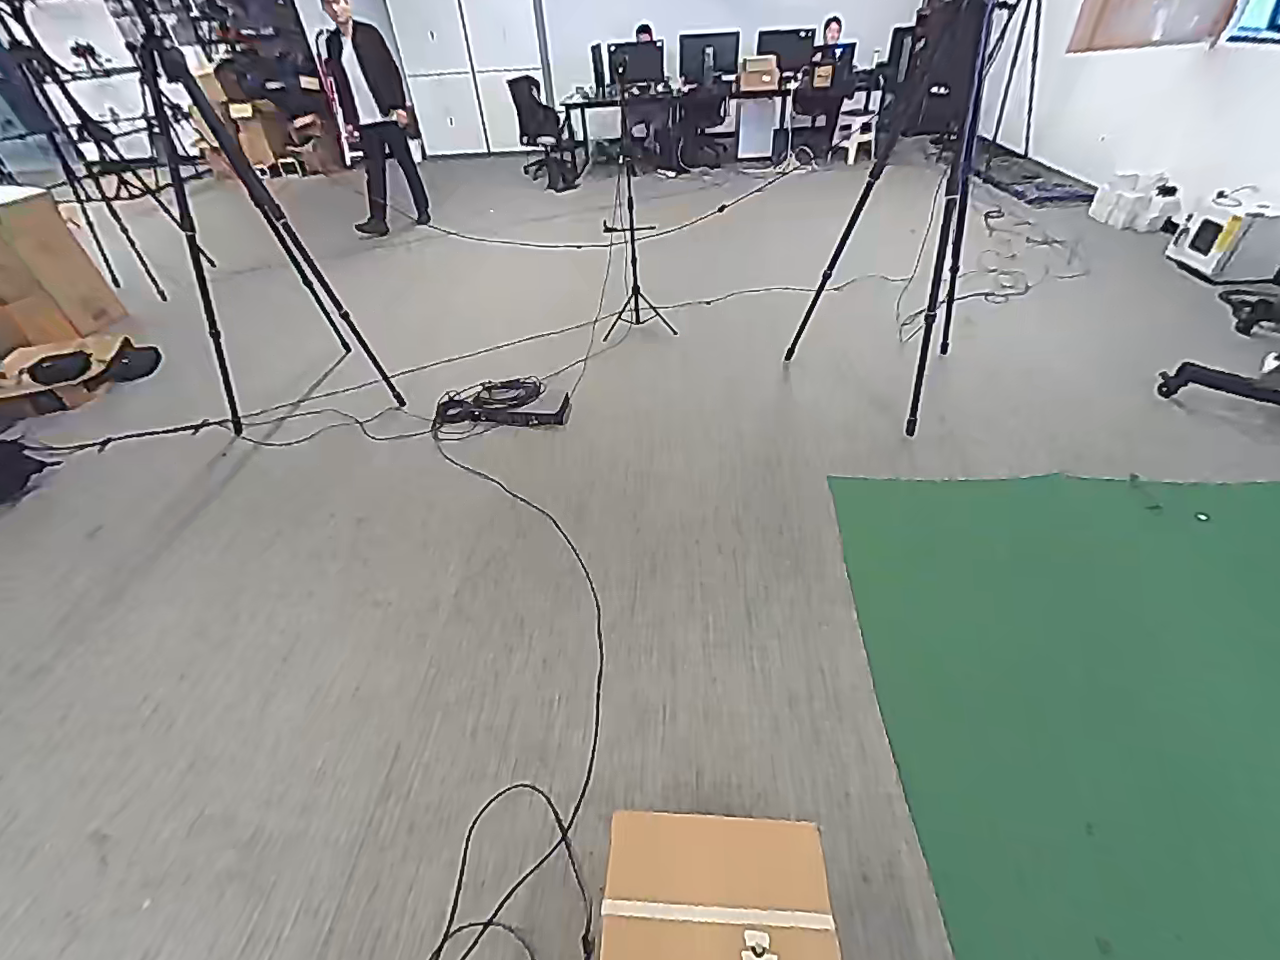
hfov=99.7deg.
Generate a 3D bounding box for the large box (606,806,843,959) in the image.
[{"bbox_3d":[0.149,0.870,1.054,0.408,0.320,0.320,1,41,4],"label":"large box"}]
